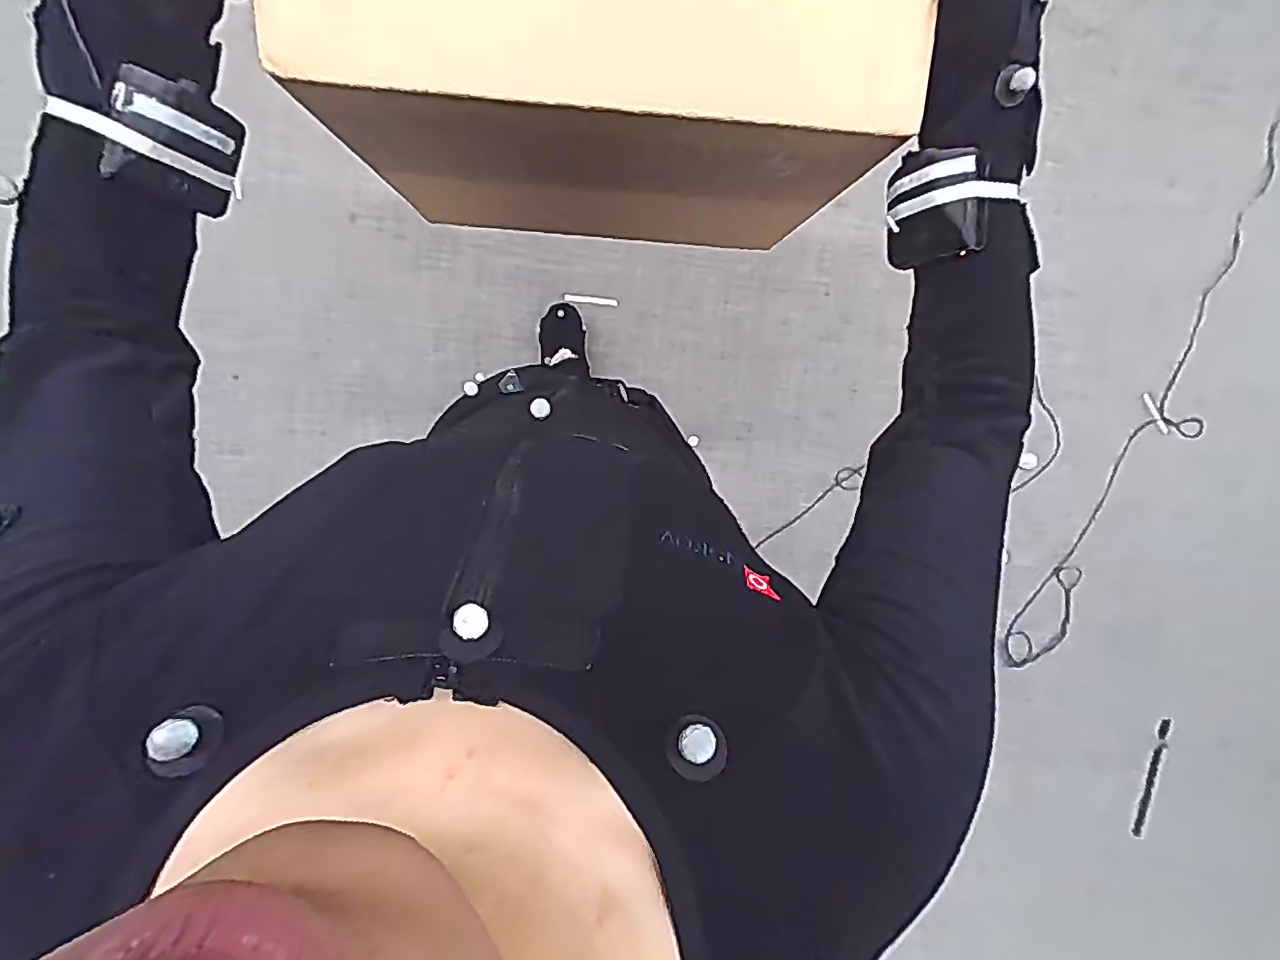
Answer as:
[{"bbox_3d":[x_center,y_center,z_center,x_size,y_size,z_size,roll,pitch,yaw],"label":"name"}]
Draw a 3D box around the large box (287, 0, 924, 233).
[{"bbox_3d":[-0.023,-0.423,0.464,0.408,0.320,0.320,2,101,-5],"label":"large box"}]
